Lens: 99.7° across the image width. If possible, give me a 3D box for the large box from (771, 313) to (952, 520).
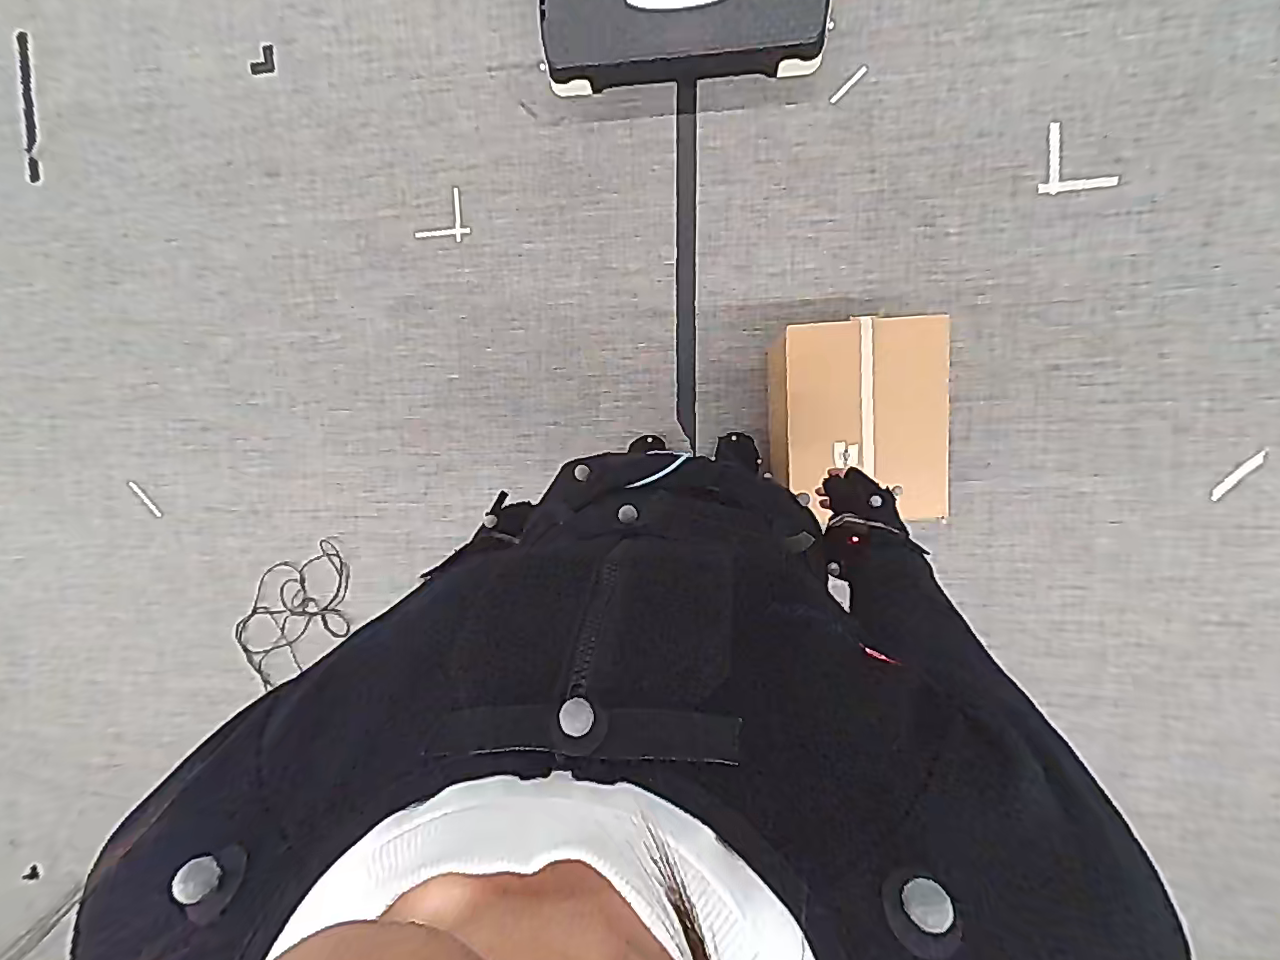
[{"bbox_3d":[0.479,-0.139,1.232,0.320,0.320,0.408,-2,96,8],"label":"large box"}]
